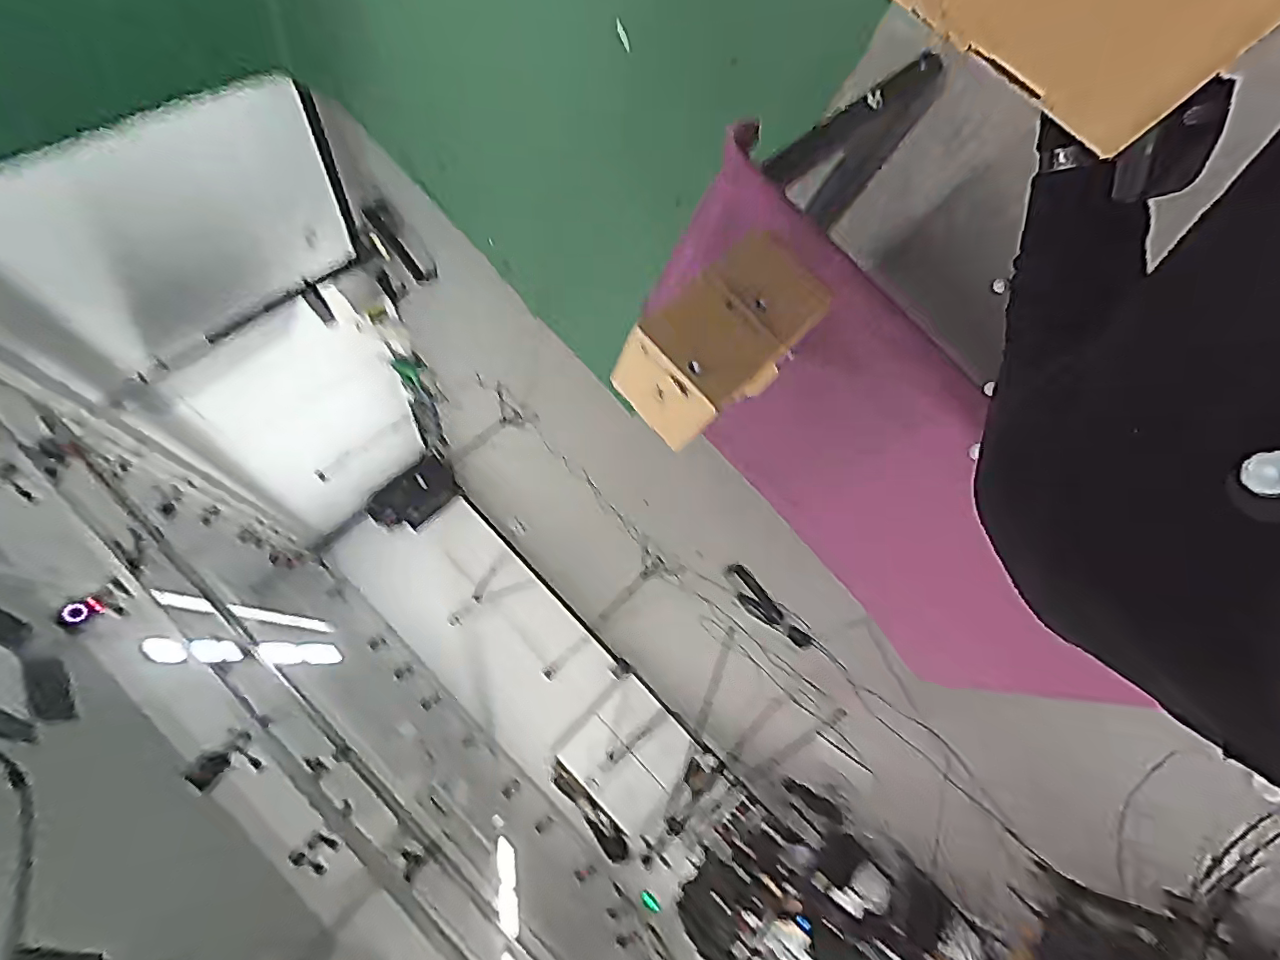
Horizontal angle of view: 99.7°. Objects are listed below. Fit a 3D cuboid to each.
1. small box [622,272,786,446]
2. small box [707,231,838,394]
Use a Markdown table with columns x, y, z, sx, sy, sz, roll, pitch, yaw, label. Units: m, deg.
| x | y | z | sx | sy | sz | roll | pitch | yaw | label |
| --- | --- | --- | --- | --- | --- | --- | --- | --- | --- |
| 0.099 | -0.188 | 0.859 | 0.168 | 0.176 | 0.179 | 45 | 158 | 2 | small box |
| 0.204 | -0.289 | 0.937 | 0.179 | 0.176 | 0.168 | 46 | 157 | 4 | small box |
